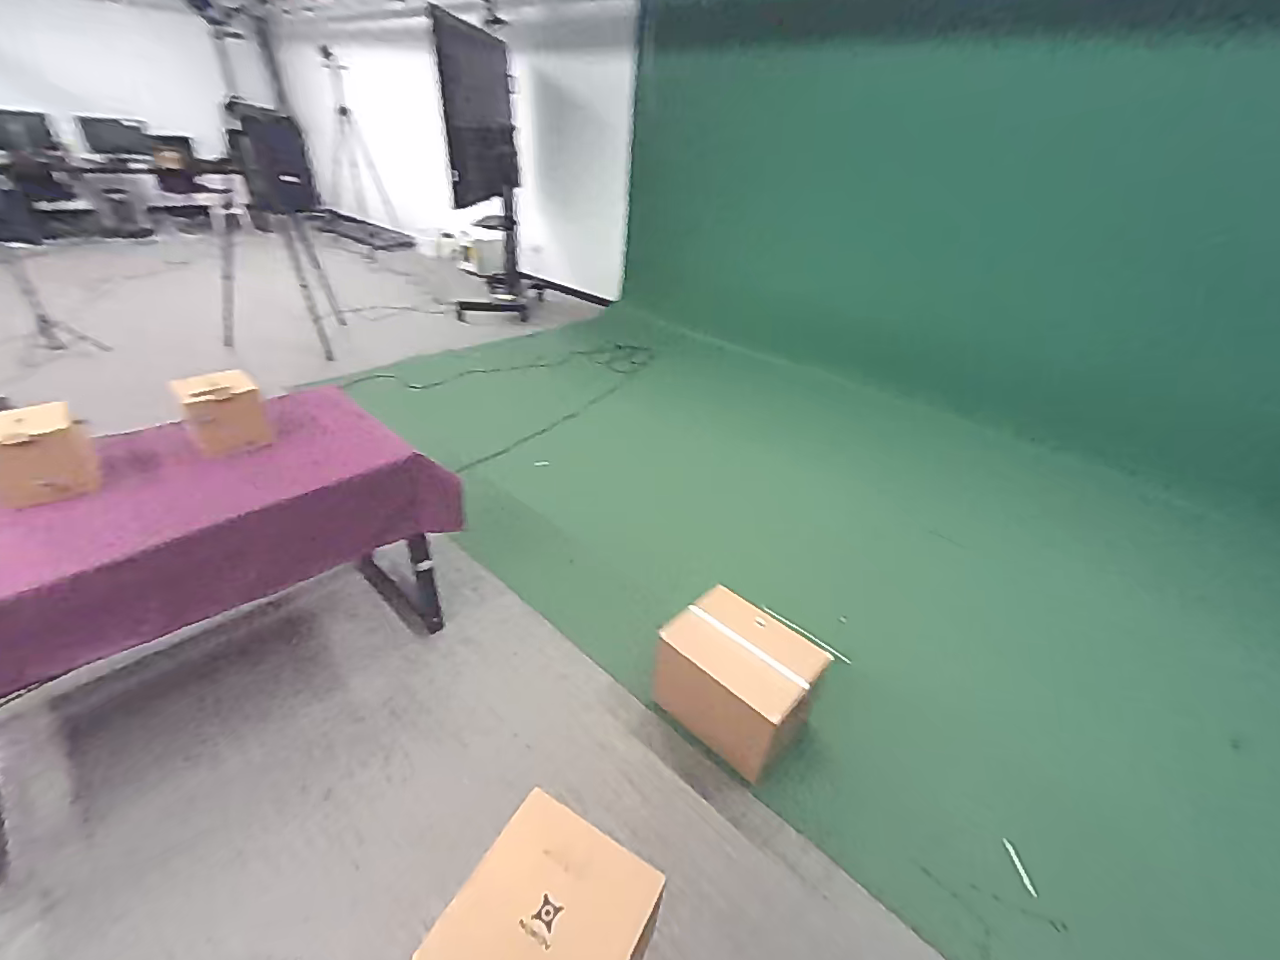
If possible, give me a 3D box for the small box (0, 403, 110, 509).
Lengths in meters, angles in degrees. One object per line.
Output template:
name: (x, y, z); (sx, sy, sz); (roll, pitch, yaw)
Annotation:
small box: (-1.397, -0.059, 1.274); (0.168, 0.176, 0.179); (-22, 42, -34)
